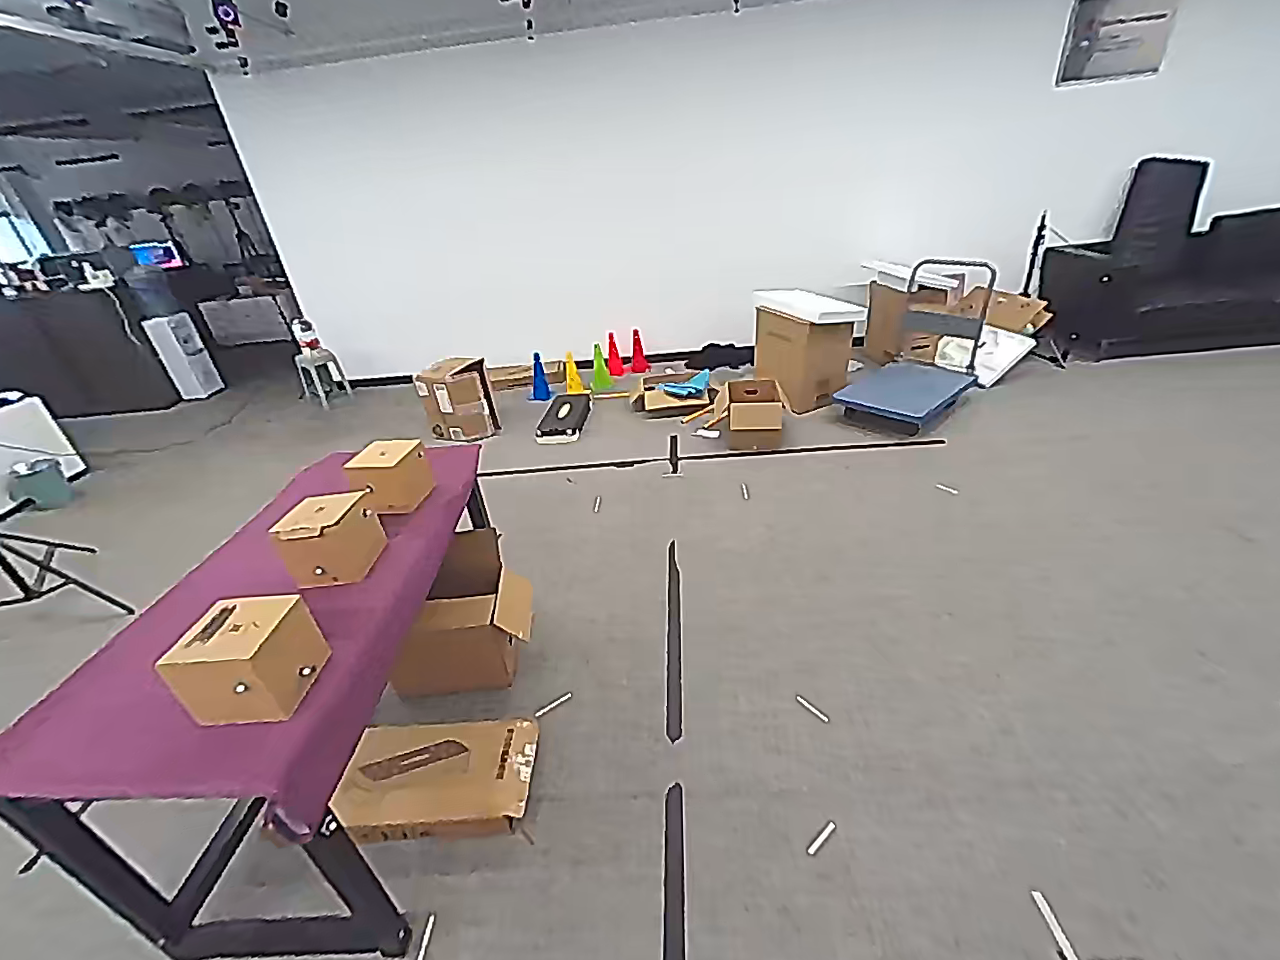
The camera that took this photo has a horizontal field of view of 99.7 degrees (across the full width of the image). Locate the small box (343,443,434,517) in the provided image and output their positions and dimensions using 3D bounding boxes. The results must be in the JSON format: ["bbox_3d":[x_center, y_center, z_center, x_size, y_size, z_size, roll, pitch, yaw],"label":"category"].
[{"bbox_3d":[-0.759,0.002,1.658,0.168,0.176,0.179,-2,29,9],"label":"small box"}]

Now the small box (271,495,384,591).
[{"bbox_3d":[-0.783,0.160,1.382,0.168,0.176,0.179,-7,29,4],"label":"small box"}]
